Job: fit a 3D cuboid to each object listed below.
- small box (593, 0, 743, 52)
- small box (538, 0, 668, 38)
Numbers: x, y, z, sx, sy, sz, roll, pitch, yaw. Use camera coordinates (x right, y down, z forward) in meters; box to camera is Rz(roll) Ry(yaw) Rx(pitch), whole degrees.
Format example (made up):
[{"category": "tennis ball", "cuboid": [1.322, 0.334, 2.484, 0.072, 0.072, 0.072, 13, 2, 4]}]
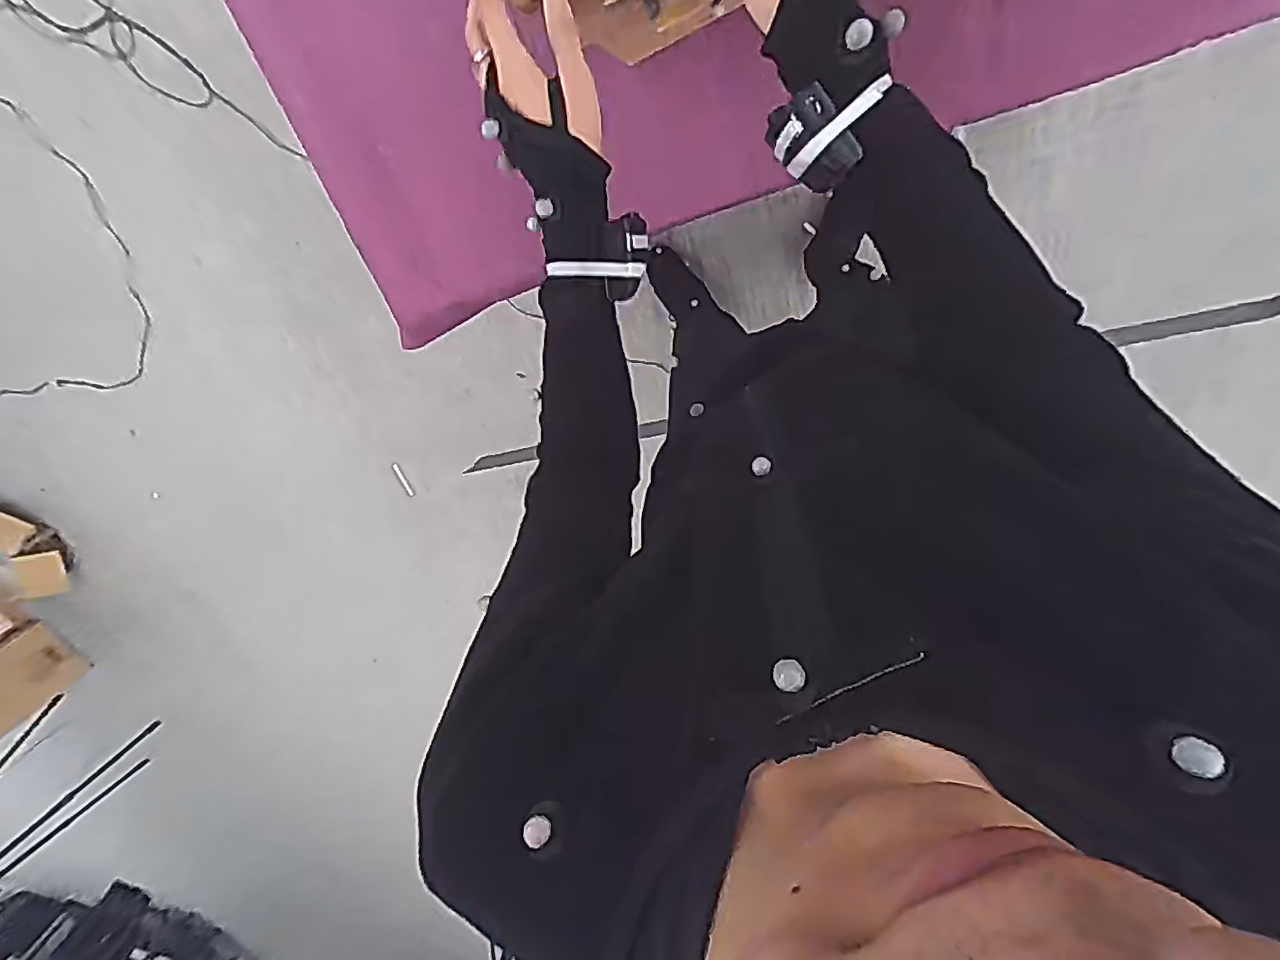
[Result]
[{"category": "small box", "cuboid": [0.015, -0.546, 0.516, 0.168, 0.176, 0.179, -14, 117, 20]}, {"category": "small box", "cuboid": [-0.025, -0.460, 0.381, 0.168, 0.176, 0.179, -12, 118, 19]}]
